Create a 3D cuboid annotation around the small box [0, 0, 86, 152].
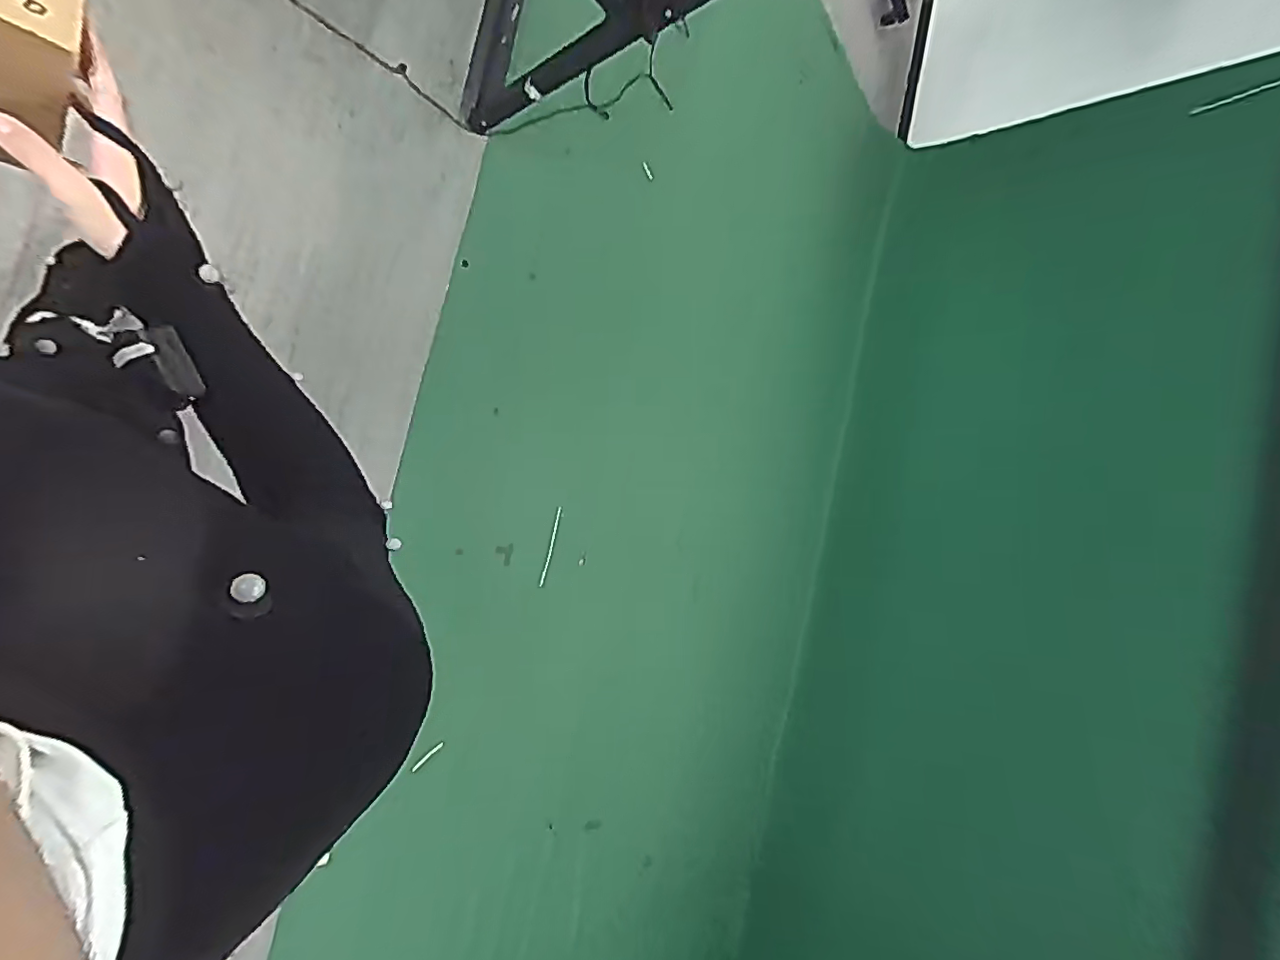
[{"bbox_3d":[-0.501,-0.379,0.367,0.168,0.176,0.179,5,76,-51],"label":"small box"}]
